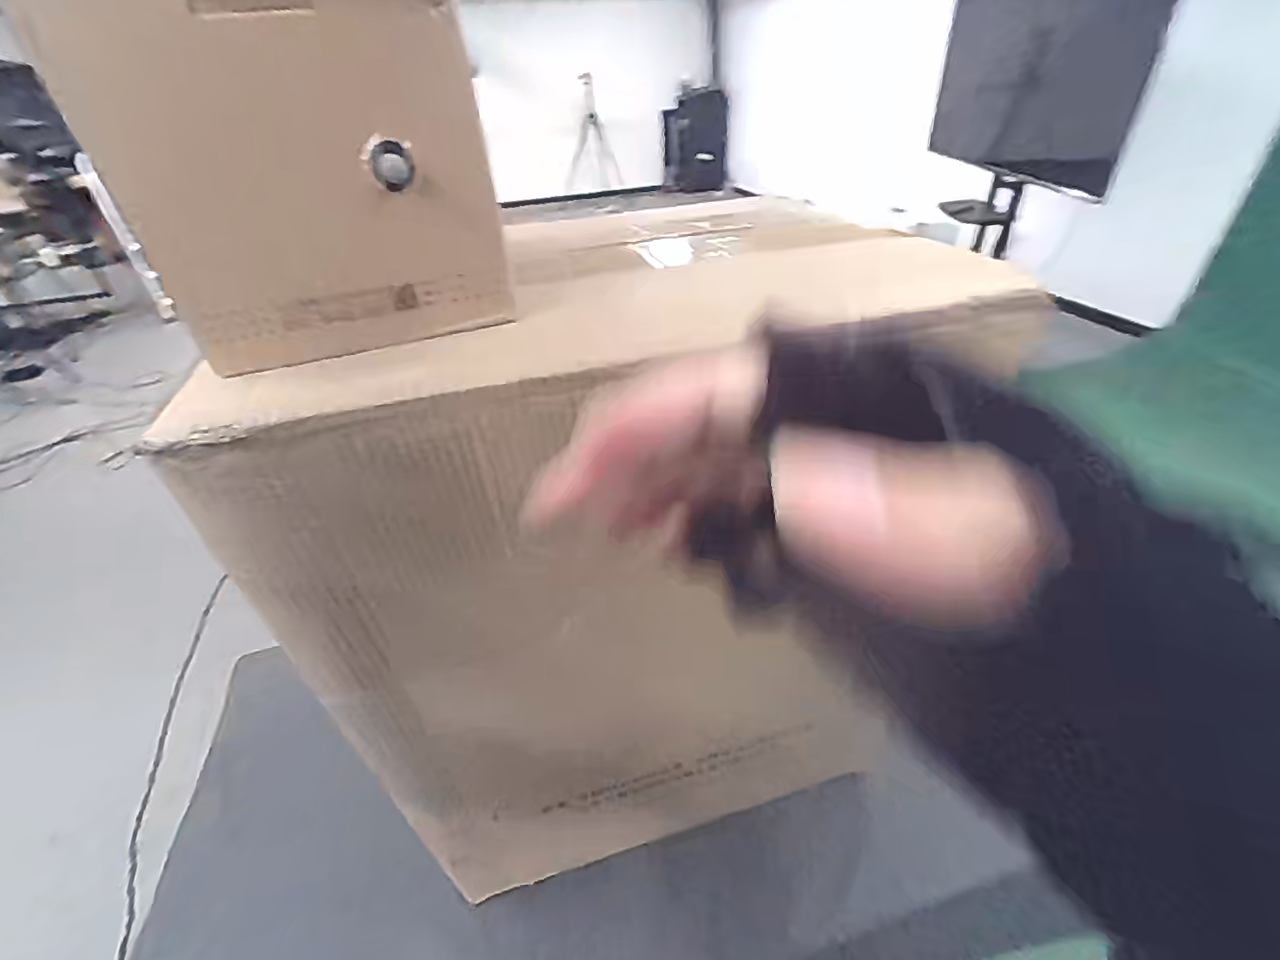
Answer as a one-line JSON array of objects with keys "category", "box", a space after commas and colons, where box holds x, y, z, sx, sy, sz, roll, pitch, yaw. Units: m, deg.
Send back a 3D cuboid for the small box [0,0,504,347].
[{"category": "small box", "box": [-0.193, -0.194, 0.321, 0.168, 0.176, 0.179, -20, 42, -17]}]
